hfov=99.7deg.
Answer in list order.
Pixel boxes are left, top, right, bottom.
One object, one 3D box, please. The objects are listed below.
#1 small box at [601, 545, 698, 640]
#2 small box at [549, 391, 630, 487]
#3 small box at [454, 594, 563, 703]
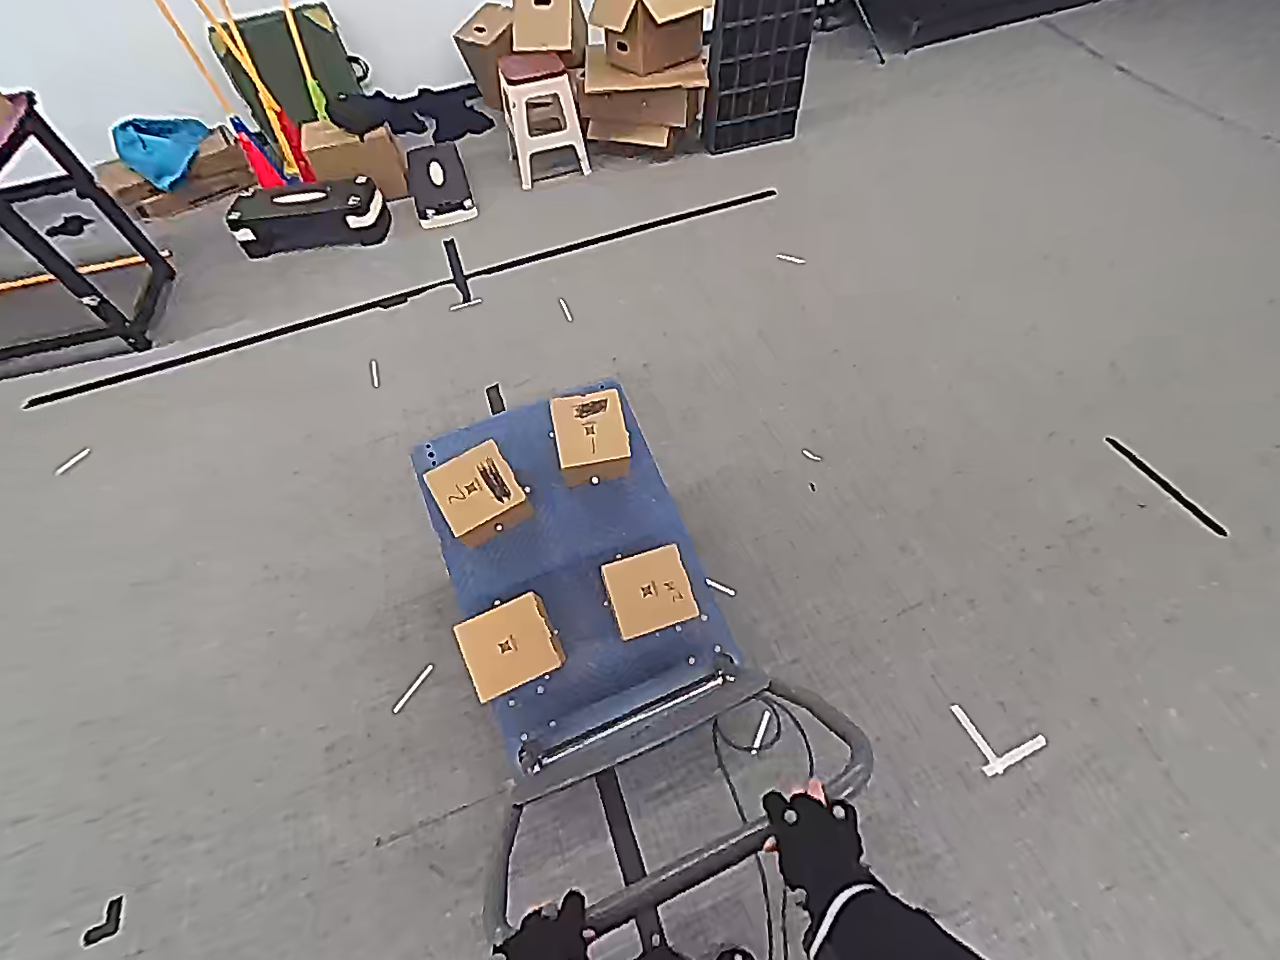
[{"bbox_3d":[0.015,0.262,1.239,0.179,0.176,0.168,-16,76,-9],"label":"small box"},{"bbox_3d":[-0.126,-0.097,1.332,0.168,0.176,0.179,-11,76,-8],"label":"small box"},{"bbox_3d":[-0.280,0.367,1.185,0.179,0.176,0.168,-24,77,-12],"label":"small box"}]
